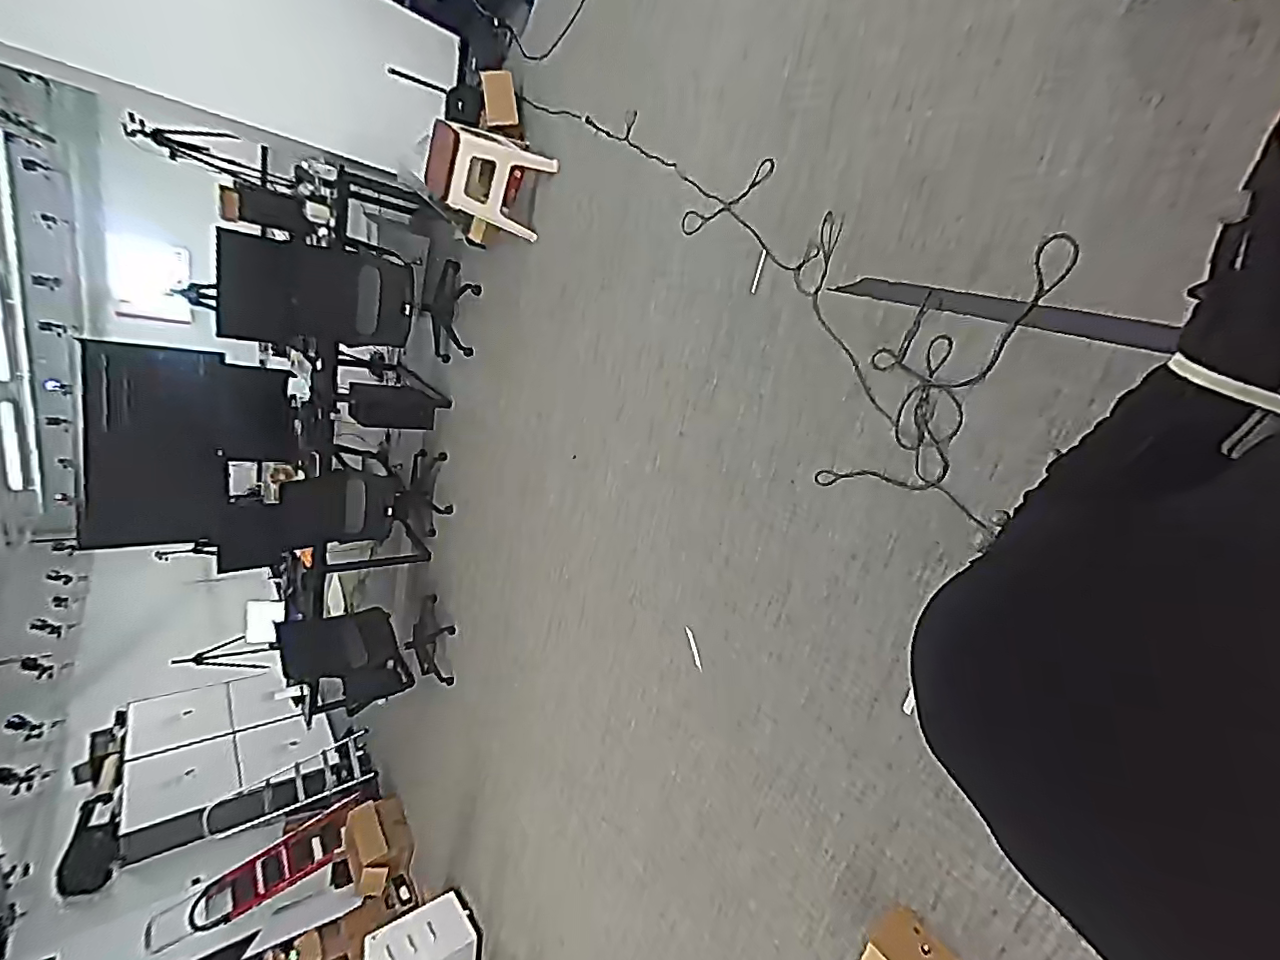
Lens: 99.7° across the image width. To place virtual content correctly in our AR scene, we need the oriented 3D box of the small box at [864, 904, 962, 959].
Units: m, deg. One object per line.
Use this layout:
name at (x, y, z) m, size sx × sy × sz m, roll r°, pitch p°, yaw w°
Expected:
small box at (0.678, 1.237, 1.360) m, size 0.168 × 0.176 × 0.179 m, roll 28°, pitch 112°, yaw 45°
